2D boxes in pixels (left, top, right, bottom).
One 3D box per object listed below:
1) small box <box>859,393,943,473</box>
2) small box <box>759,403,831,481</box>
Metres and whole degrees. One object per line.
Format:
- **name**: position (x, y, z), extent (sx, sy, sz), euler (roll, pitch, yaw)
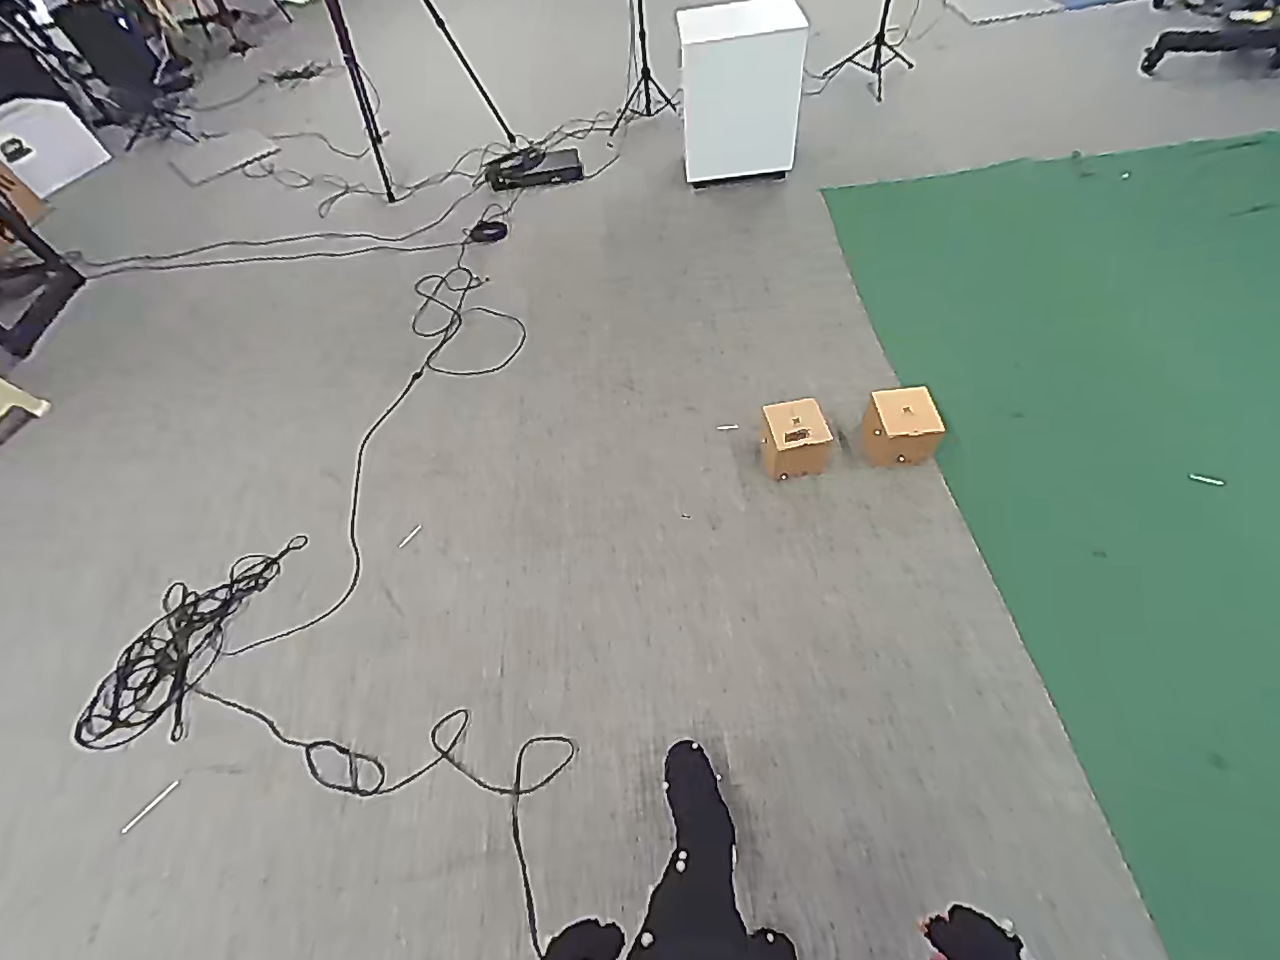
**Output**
- **small box**: position (0.797, -0.143, 1.673), extent (0.168, 0.176, 0.179), euler (-5, 56, 4)
- **small box**: position (0.476, -0.111, 1.686), extent (0.168, 0.176, 0.179), euler (-9, 55, 0)
